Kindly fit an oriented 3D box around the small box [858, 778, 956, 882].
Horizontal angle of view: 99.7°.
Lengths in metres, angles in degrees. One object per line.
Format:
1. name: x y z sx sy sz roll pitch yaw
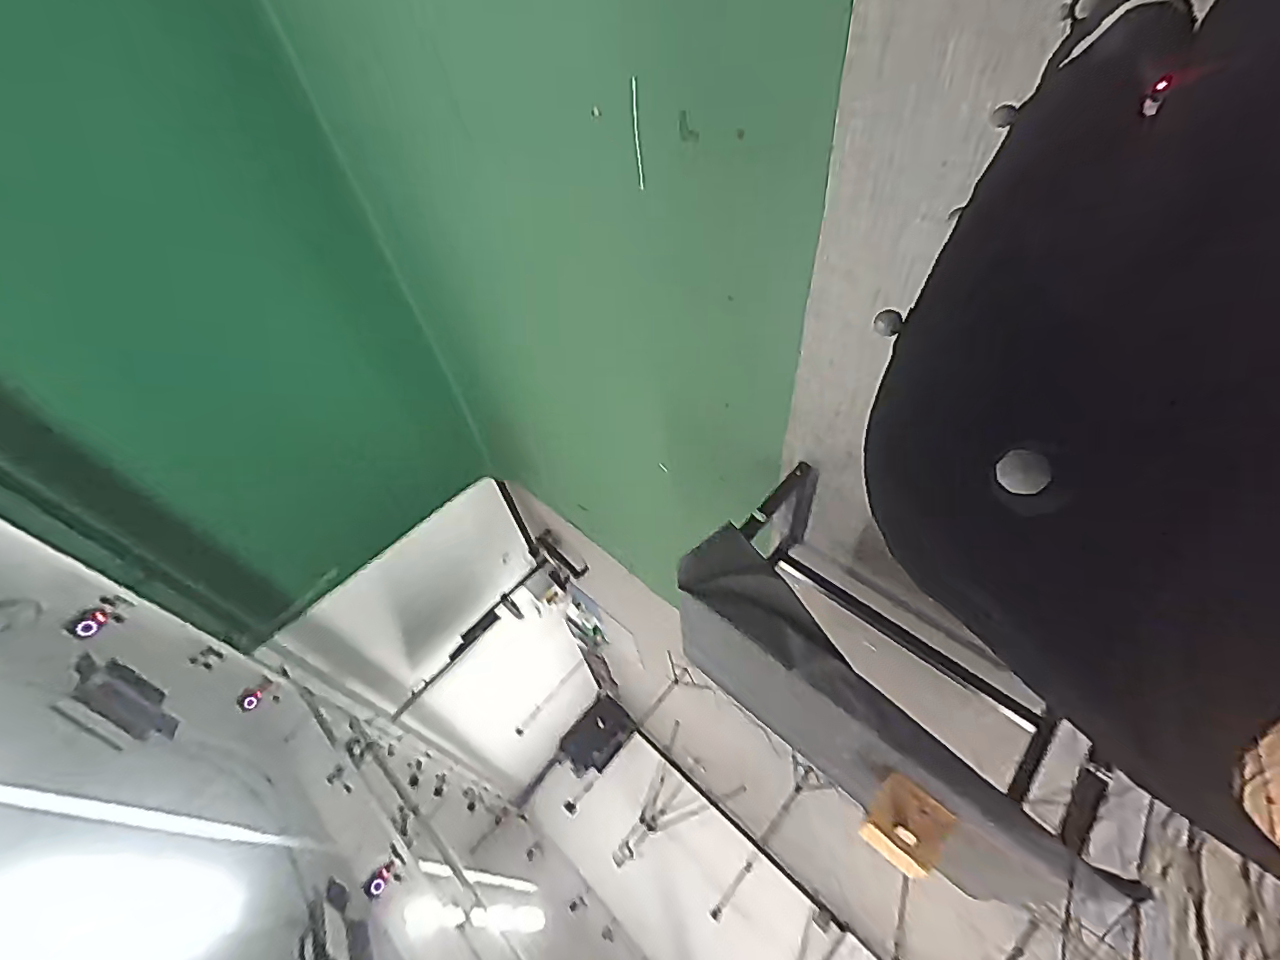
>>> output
1. small box: 0.737 0.966 1.495 0.168 0.176 0.179 34 152 30
